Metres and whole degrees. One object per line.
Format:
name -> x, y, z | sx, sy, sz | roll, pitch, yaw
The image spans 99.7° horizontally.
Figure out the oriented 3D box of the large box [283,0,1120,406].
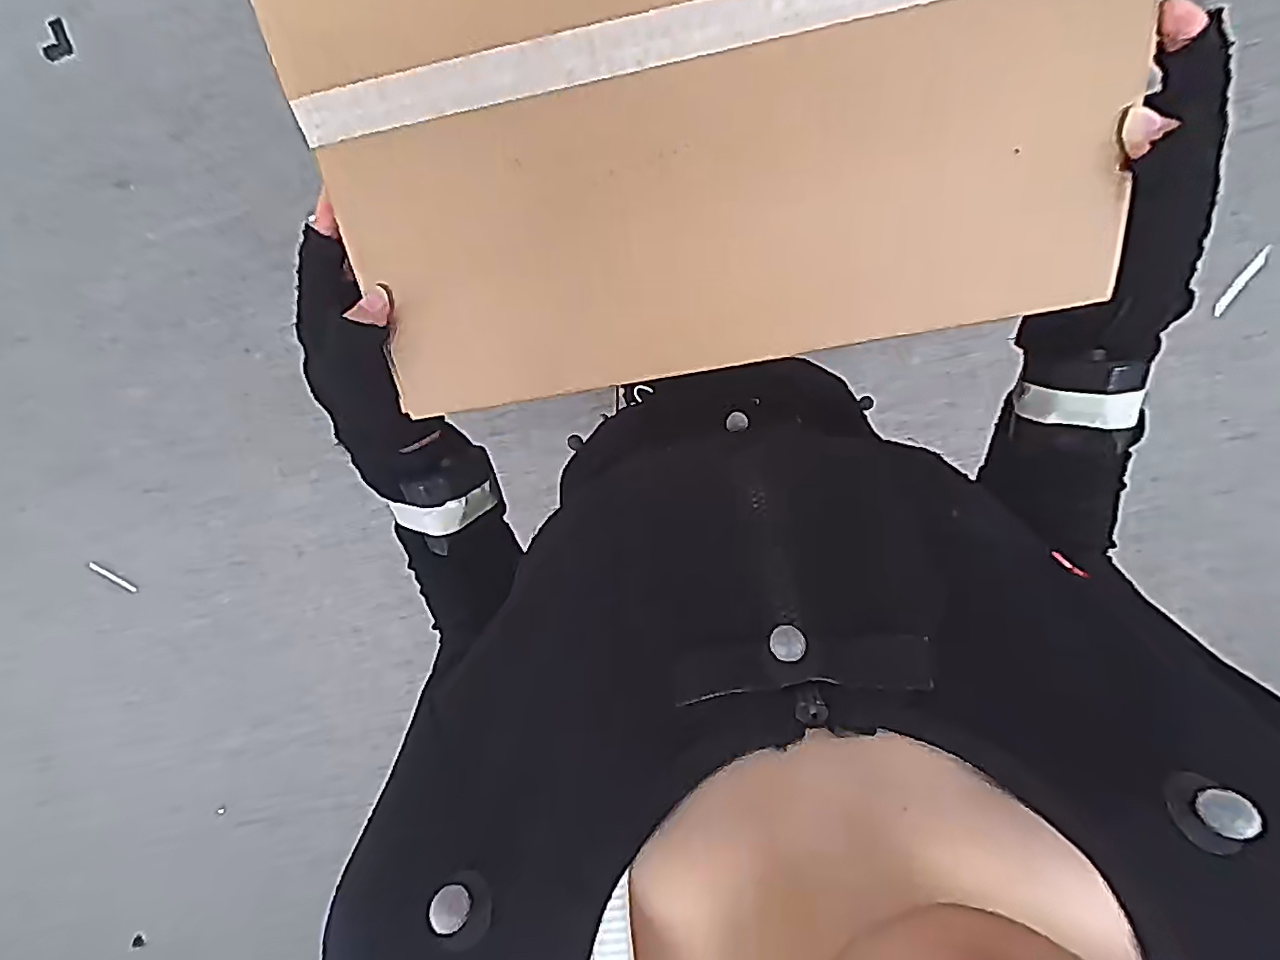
large box -> 0.031, -0.272, 0.405 | 0.408, 0.320, 0.320 | -9, 113, 5
